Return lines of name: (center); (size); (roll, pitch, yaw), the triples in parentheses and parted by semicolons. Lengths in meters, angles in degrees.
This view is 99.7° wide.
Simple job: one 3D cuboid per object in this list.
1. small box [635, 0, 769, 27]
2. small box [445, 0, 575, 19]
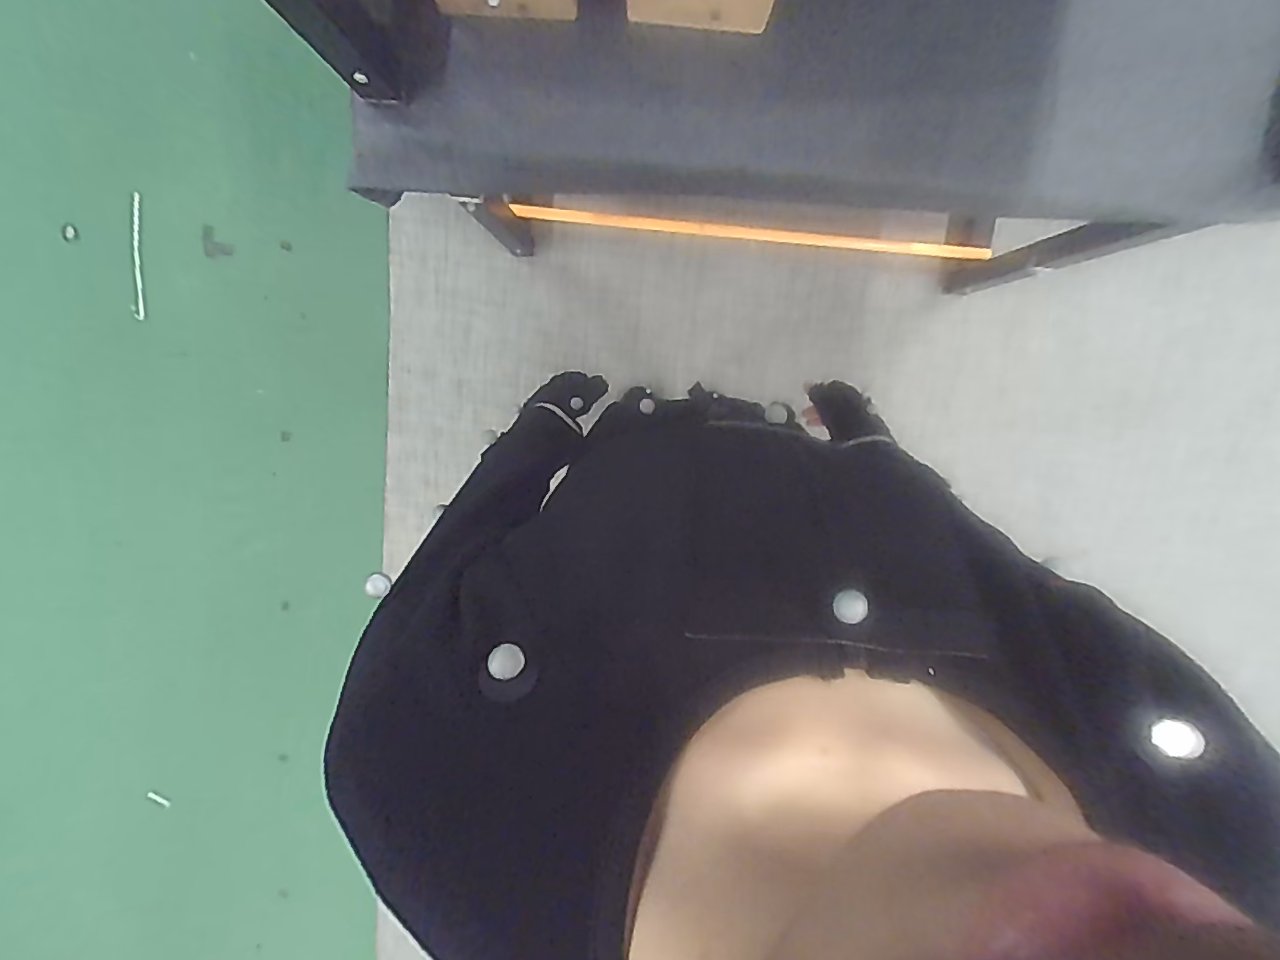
small box: (0.072, -0.616, 0.555); (0.168, 0.176, 0.179); (5, 99, 0)
small box: (-0.154, -0.630, 0.554); (0.168, 0.176, 0.179); (3, 100, 0)
